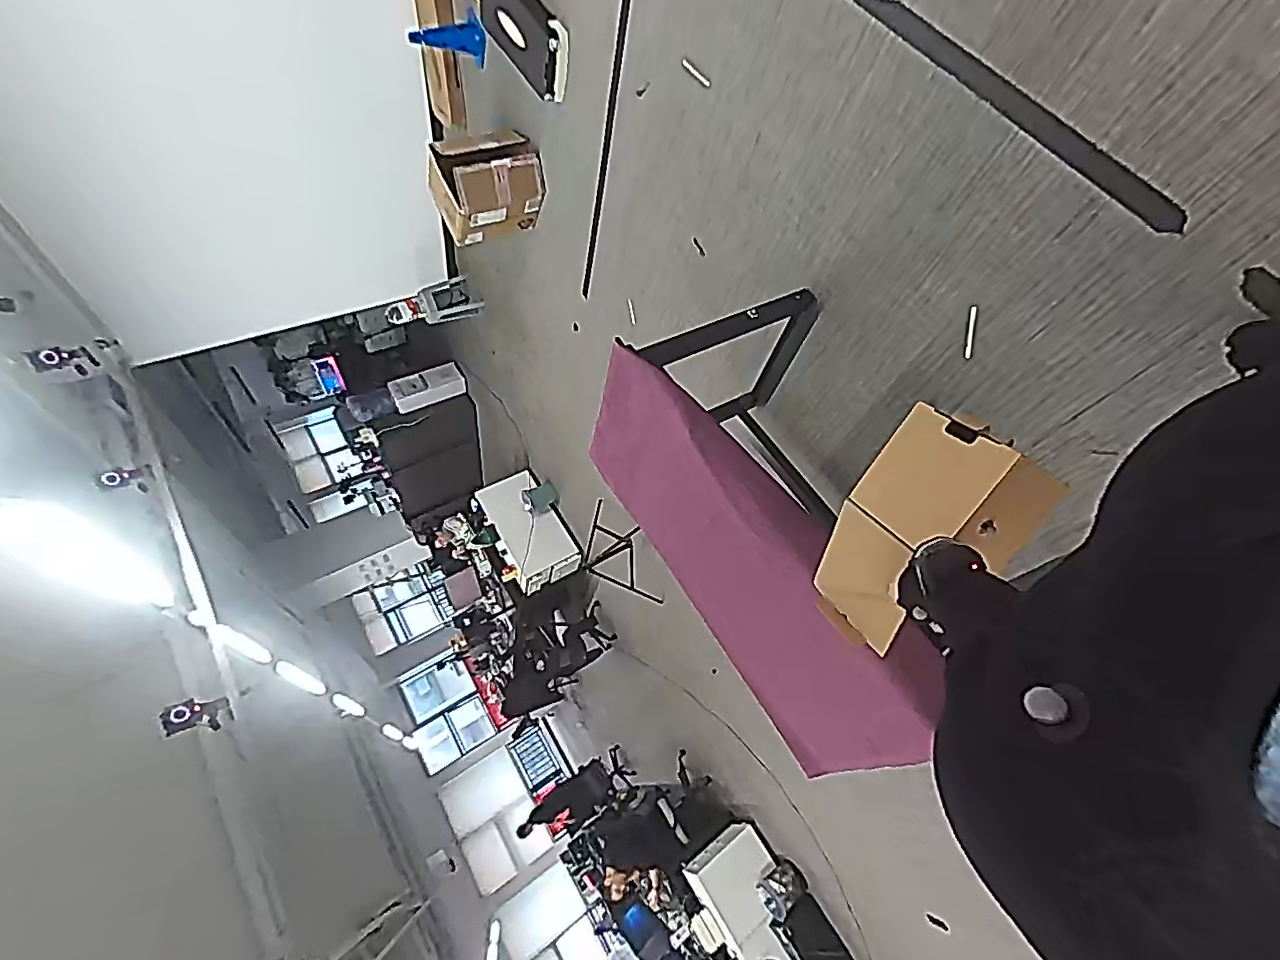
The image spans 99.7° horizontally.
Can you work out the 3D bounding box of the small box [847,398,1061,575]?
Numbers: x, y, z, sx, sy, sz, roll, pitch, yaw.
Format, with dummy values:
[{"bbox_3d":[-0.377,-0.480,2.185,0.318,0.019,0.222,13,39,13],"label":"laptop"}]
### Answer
[{"bbox_3d":[0.444,0.016,0.770,0.179,0.176,0.168,-60,37,20],"label":"small box"}]
